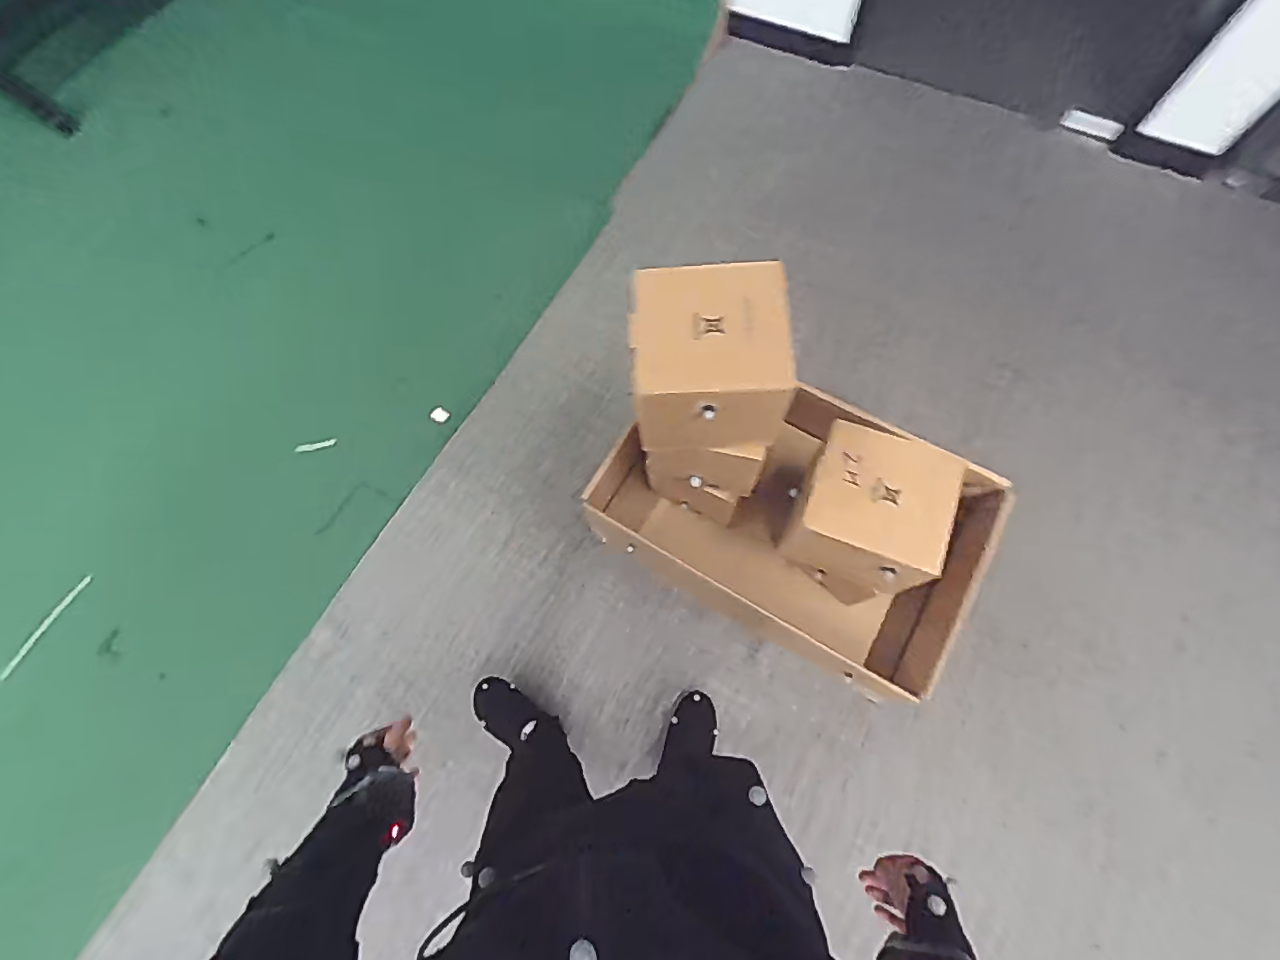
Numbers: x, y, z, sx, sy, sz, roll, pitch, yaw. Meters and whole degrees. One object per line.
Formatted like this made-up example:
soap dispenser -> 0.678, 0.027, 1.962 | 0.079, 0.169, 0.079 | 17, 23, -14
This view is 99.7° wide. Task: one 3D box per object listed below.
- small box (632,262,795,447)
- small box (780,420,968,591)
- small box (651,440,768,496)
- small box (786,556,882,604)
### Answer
small box -> 0.086, -0.146, 0.674 | 0.179, 0.176, 0.168 | -1, 71, 4
small box -> 0.317, 0.046, 0.764 | 0.179, 0.176, 0.168 | 21, 72, 11
small box -> 0.113, -0.094, 0.827 | 0.168, 0.176, 0.179 | 13, 72, 9
small box -> 0.358, 0.092, 0.920 | 0.168, 0.176, 0.179 | 40, 78, 15
